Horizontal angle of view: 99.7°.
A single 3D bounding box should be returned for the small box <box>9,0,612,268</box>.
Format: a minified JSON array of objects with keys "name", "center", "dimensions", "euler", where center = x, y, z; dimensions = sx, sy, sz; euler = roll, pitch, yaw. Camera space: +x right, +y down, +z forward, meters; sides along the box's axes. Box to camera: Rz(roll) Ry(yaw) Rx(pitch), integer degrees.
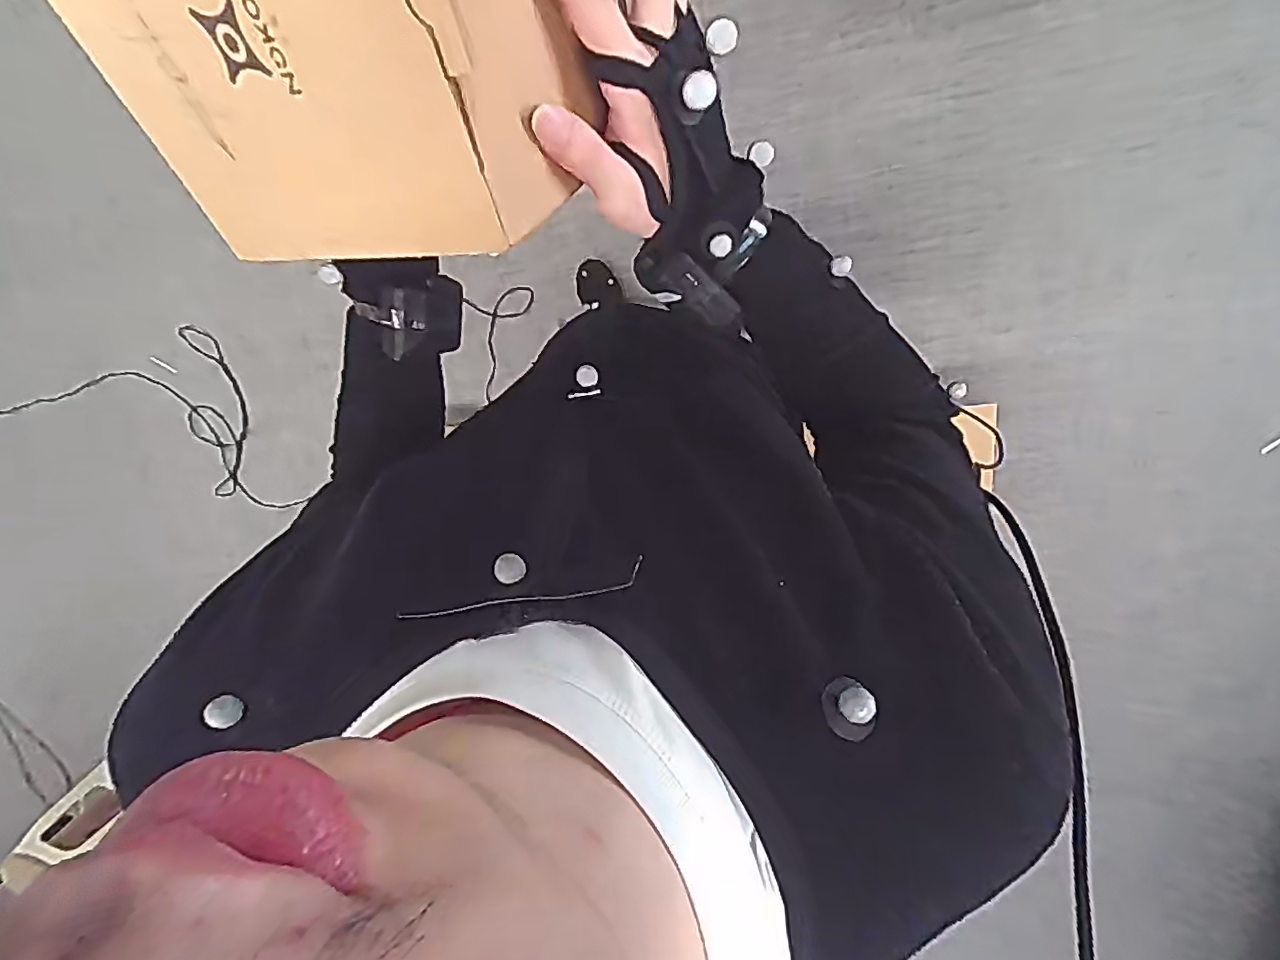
[{"name":"small box","center":[-0.125,-0.212,0.237],"dimensions":[0.179,0.176,0.168],"euler":[8,139,22]}]
